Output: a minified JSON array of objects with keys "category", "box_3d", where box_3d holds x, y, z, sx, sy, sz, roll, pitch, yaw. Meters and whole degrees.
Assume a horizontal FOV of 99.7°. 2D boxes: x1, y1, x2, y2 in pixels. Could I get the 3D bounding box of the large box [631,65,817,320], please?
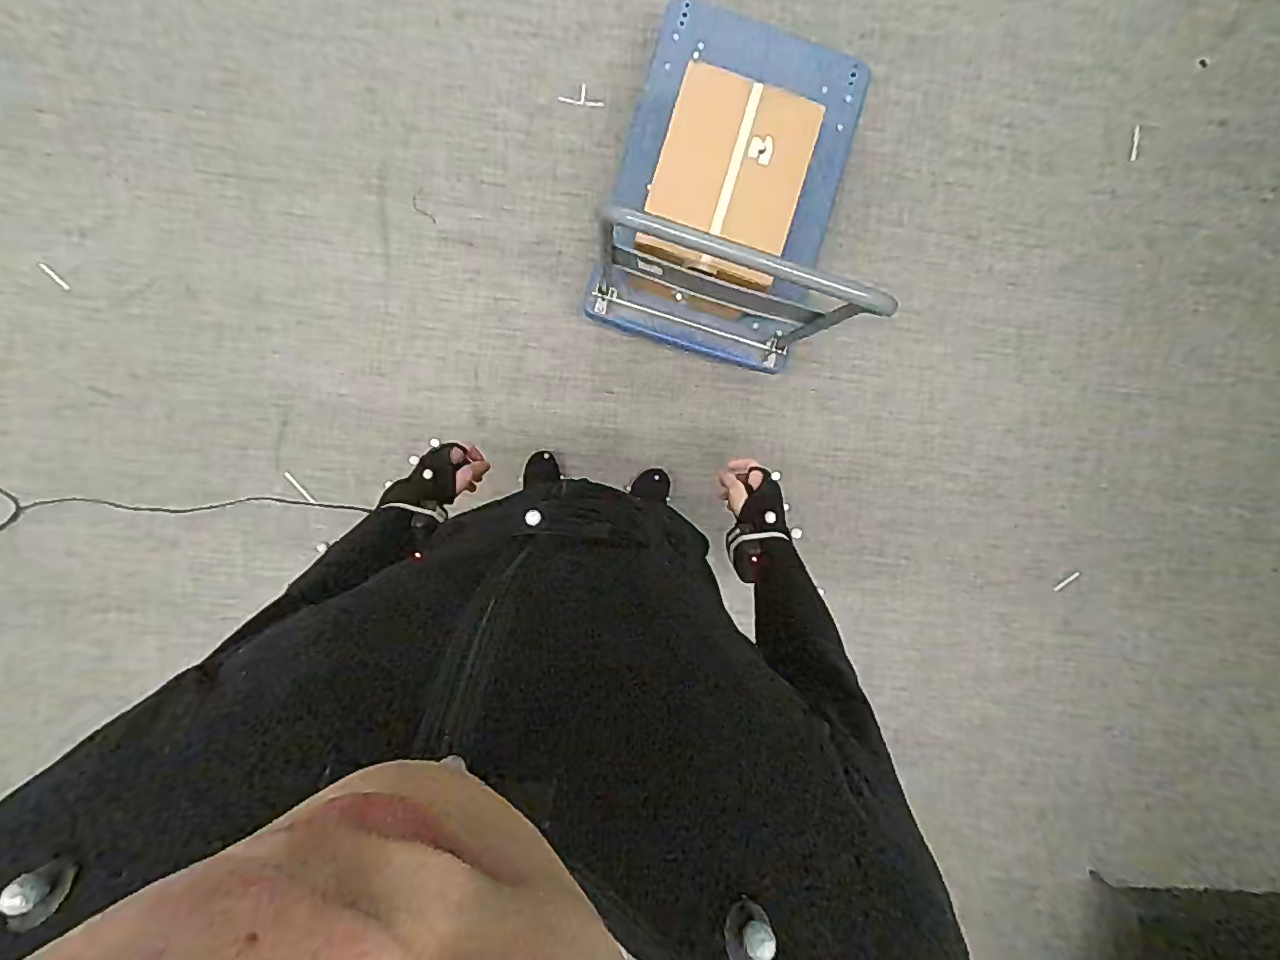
[{"category":"large box","box_3d":[0.178,-0.657,1.310,0.320,0.320,0.408,17,90,-5]}]
